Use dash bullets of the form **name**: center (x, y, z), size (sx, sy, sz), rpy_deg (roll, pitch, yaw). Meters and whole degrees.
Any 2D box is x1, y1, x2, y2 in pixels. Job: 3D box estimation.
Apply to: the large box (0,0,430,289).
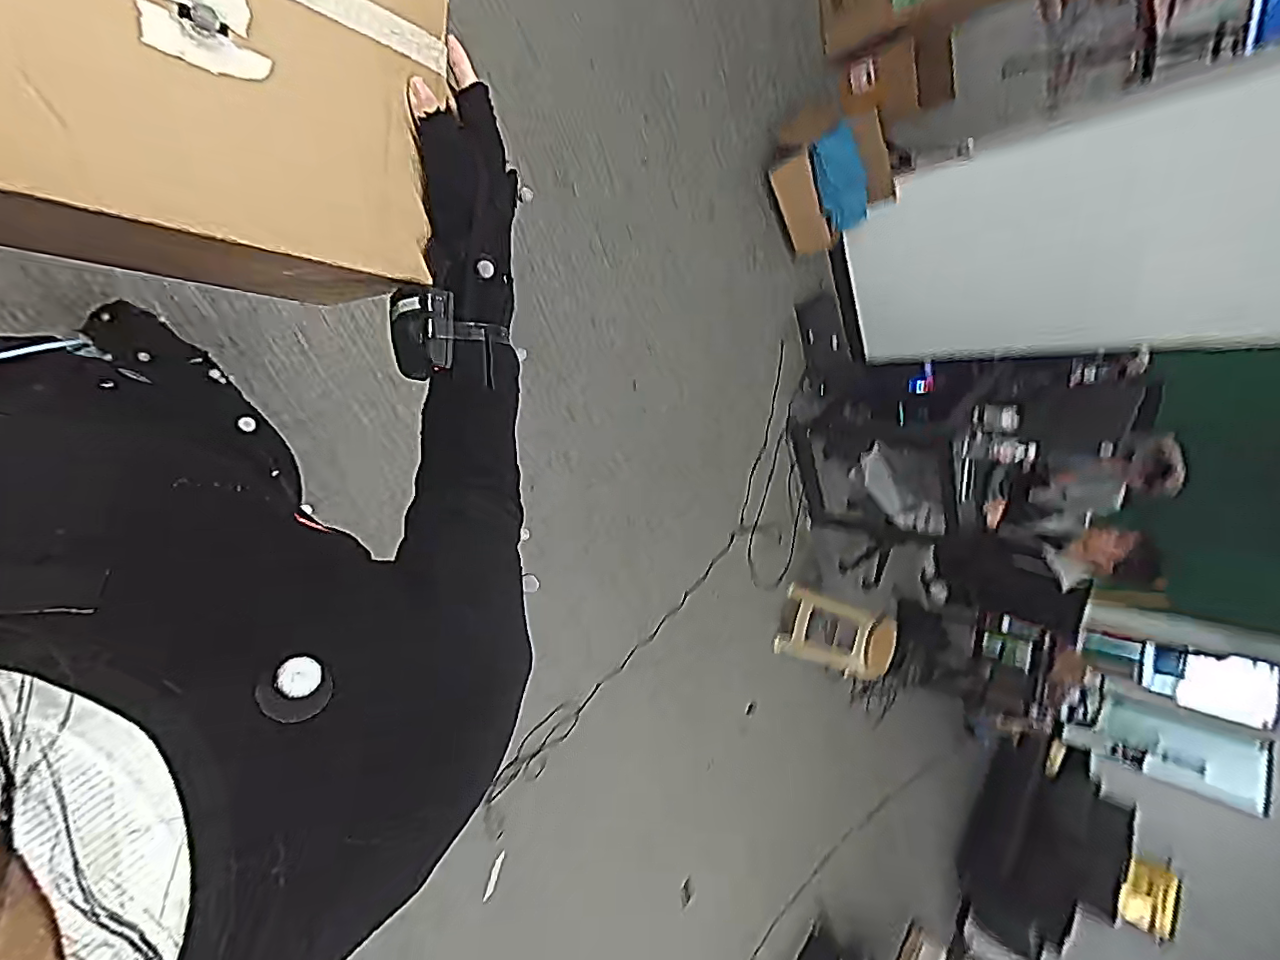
- **large box**: center (-0.404, -0.333, 0.369), size (0.408, 0.320, 0.320), rpy_deg (-3, 104, -44)
